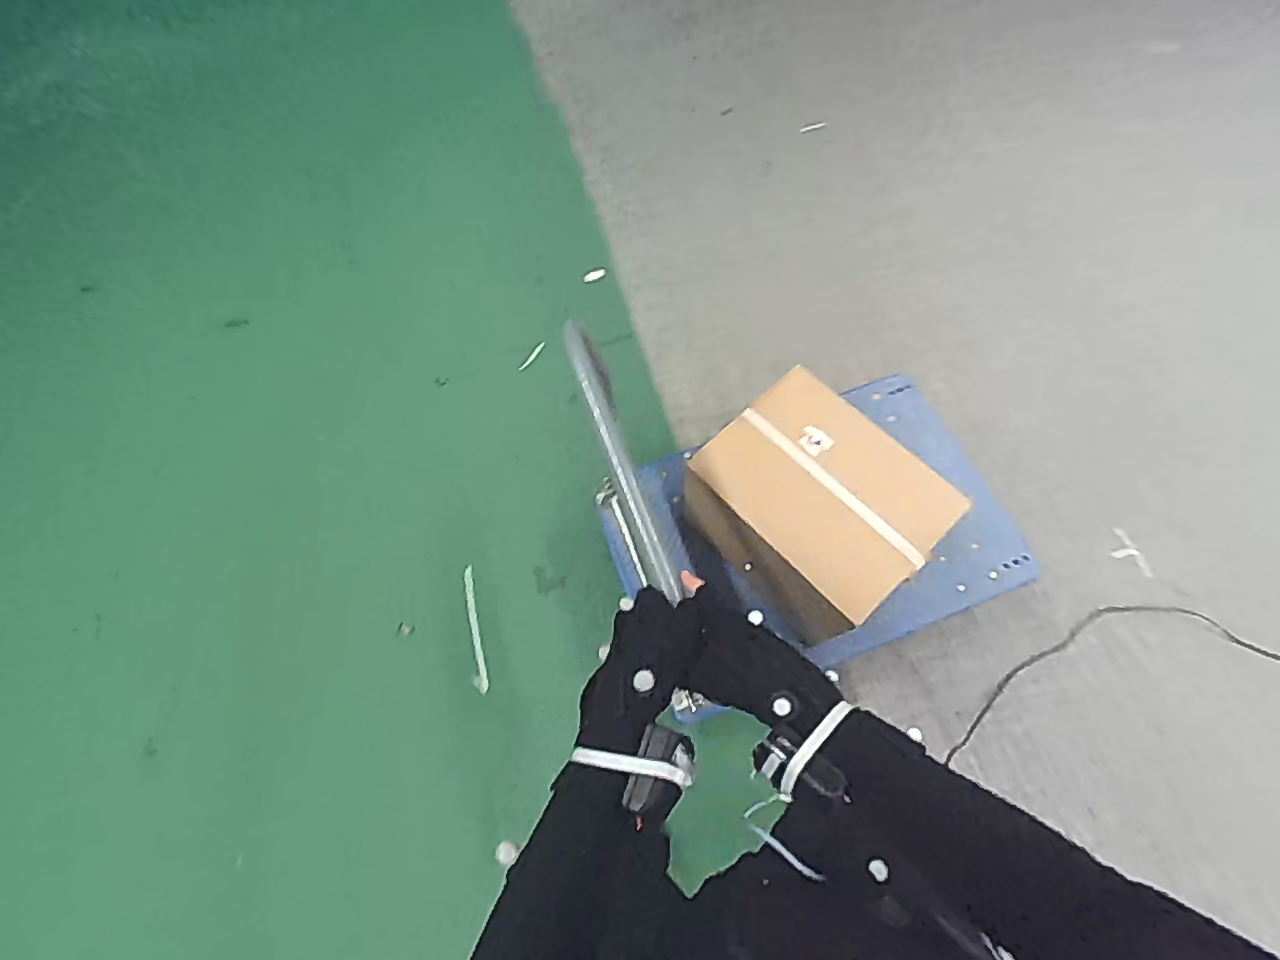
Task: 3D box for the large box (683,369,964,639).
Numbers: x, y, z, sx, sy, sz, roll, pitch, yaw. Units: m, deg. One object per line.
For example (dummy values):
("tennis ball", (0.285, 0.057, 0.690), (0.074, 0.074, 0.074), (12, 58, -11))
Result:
("large box", (0.337, 0.061, 1.110), (0.320, 0.320, 0.408), (-40, 70, -13))
